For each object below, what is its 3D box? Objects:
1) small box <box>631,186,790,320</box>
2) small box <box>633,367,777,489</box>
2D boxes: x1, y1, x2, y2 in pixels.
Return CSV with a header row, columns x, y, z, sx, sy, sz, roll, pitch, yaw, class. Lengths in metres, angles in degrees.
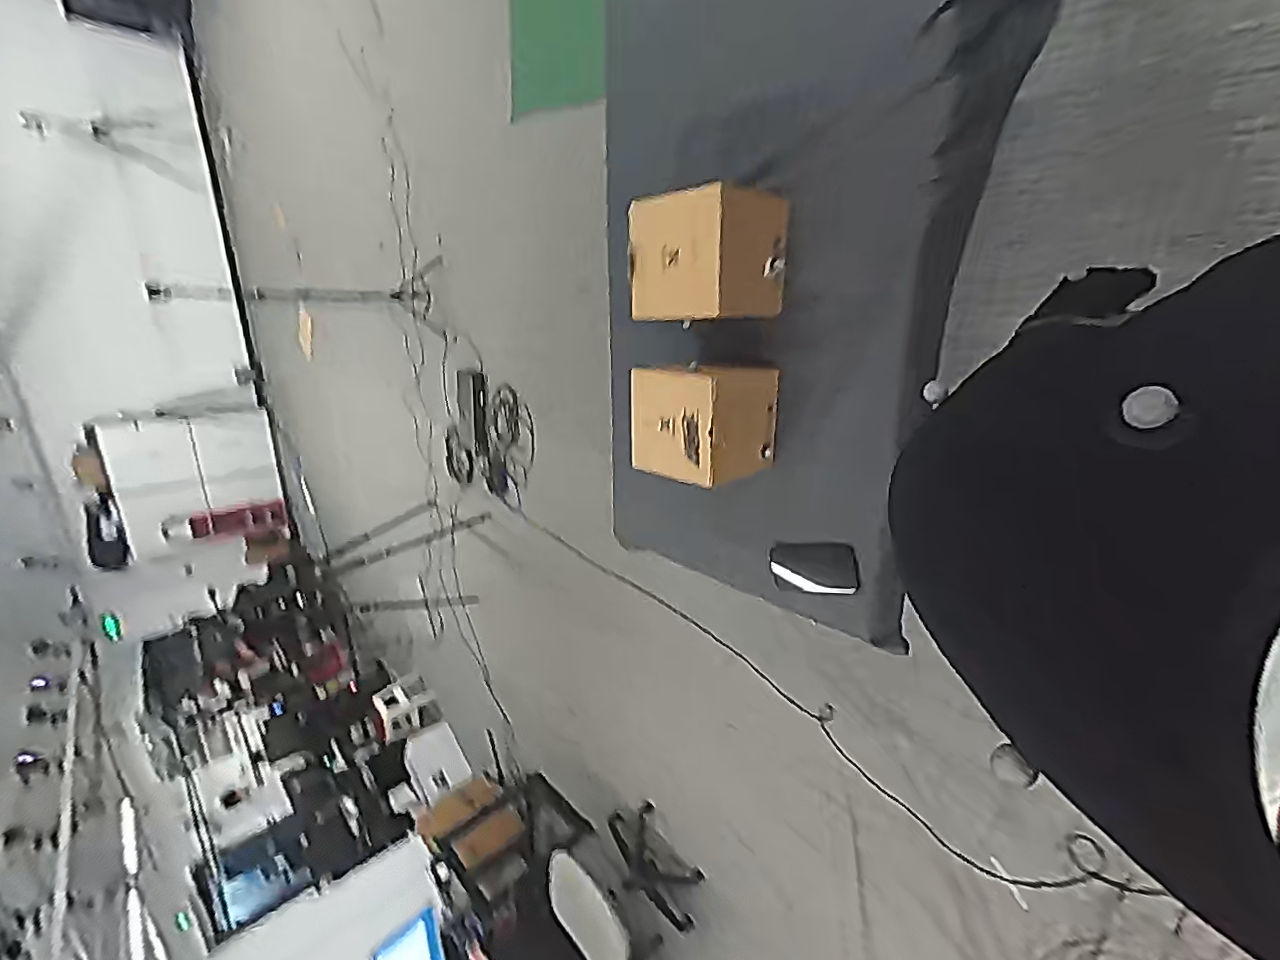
x,y,z,sx,sy,sz,roll,pitch,yaw,class
0.107,-0.333,0.829,0.179,0.176,0.168,13,113,43,small box
0.109,-0.097,0.897,0.179,0.176,0.168,16,114,45,small box
